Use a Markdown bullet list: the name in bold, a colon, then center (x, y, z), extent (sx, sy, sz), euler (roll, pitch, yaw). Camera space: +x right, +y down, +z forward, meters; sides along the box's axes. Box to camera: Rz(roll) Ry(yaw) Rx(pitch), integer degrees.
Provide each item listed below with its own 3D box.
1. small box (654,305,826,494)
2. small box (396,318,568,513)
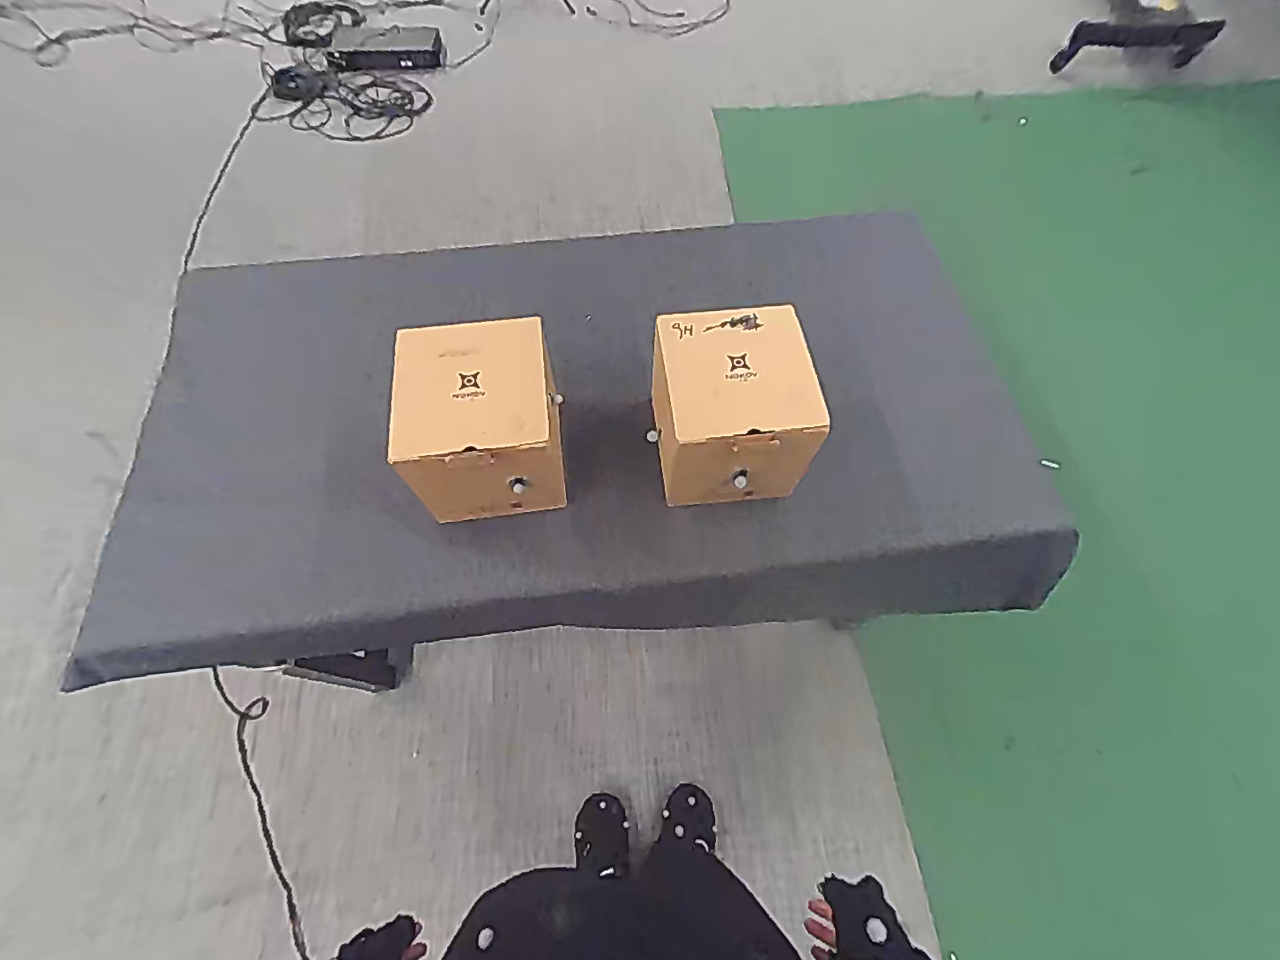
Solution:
- **small box**: center (0.110, -0.091, 0.678), extent (0.168, 0.176, 0.179), euler (-5, 65, -4)
- **small box**: center (-0.184, -0.070, 0.668), extent (0.168, 0.176, 0.179), euler (-7, 63, -6)
